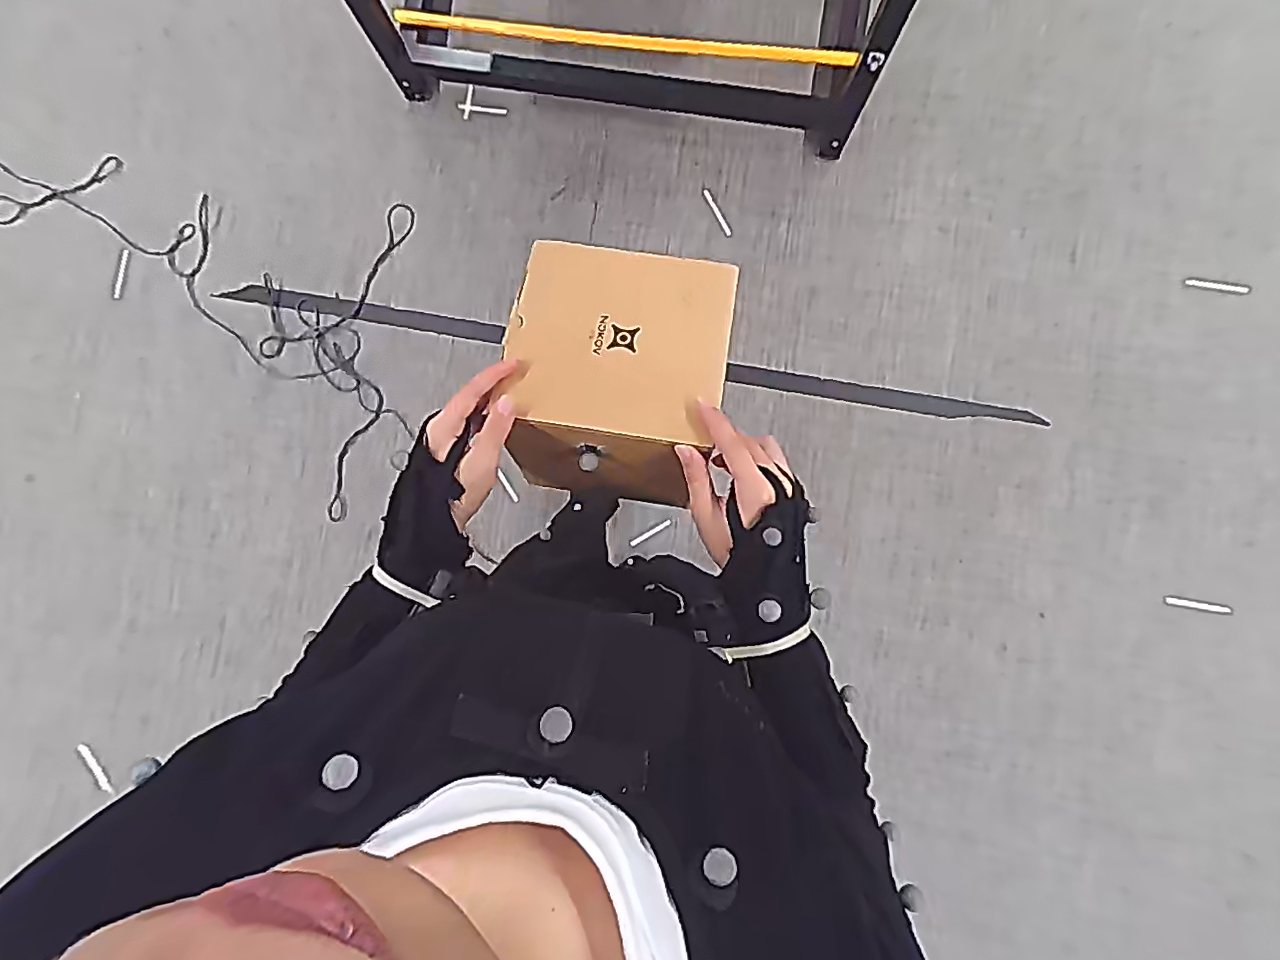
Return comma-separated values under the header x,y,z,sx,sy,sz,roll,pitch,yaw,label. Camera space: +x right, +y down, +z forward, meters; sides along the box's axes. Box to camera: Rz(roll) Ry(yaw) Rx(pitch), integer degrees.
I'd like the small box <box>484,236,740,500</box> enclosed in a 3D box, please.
x,y,z,sx,sy,sz,roll,pitch,yaw,label
-0.017,-0.087,0.494,0.179,0.176,0.168,9,72,4,small box
